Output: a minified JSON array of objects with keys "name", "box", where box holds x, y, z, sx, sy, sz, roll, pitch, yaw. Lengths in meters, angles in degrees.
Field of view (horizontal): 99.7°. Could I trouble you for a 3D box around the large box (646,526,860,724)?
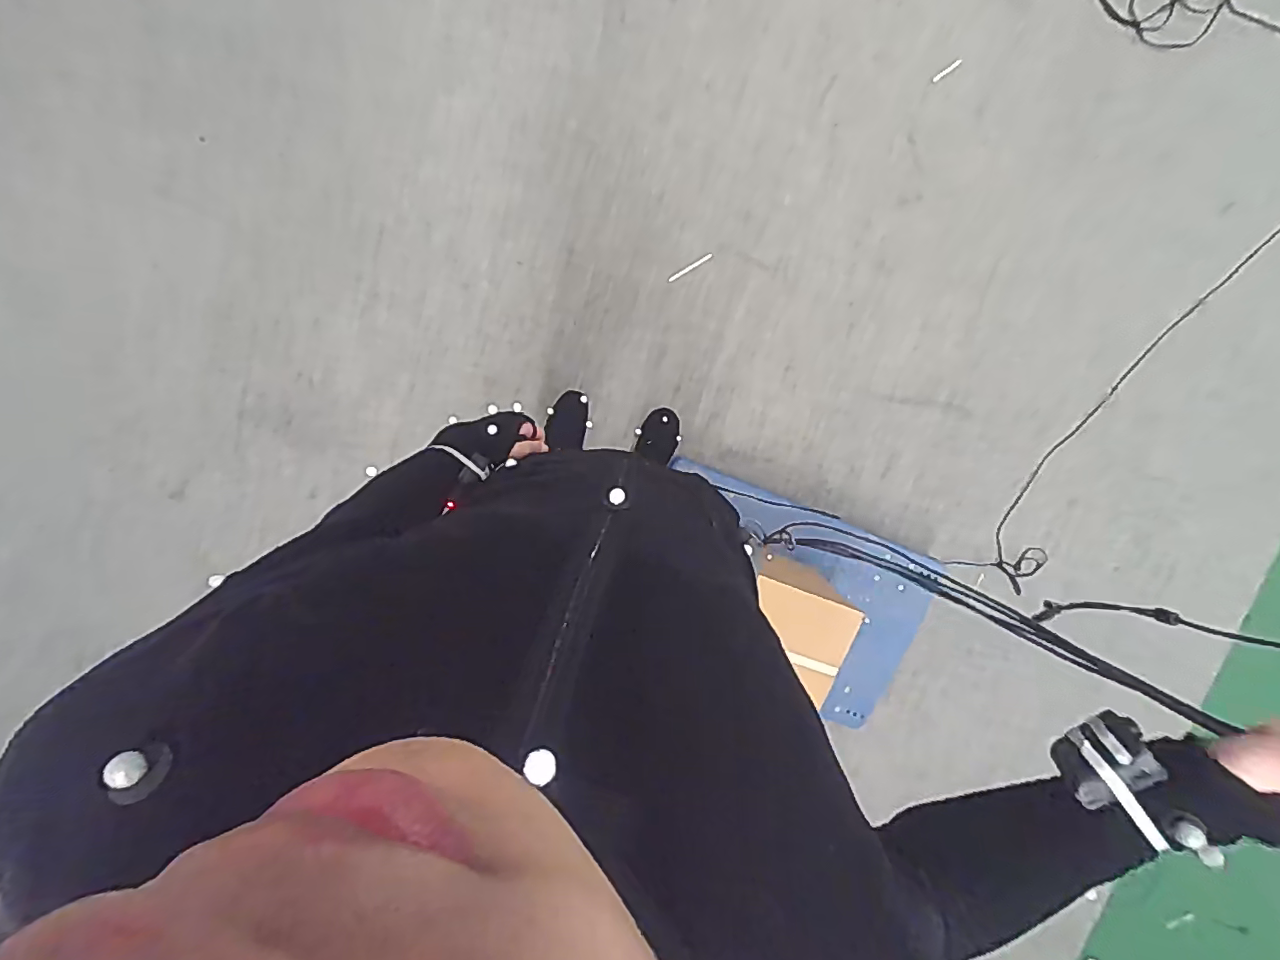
[{"name":"large box","box":[0.263,0.354,1.394,0.408,0.320,0.320,21,99,-8]}]
